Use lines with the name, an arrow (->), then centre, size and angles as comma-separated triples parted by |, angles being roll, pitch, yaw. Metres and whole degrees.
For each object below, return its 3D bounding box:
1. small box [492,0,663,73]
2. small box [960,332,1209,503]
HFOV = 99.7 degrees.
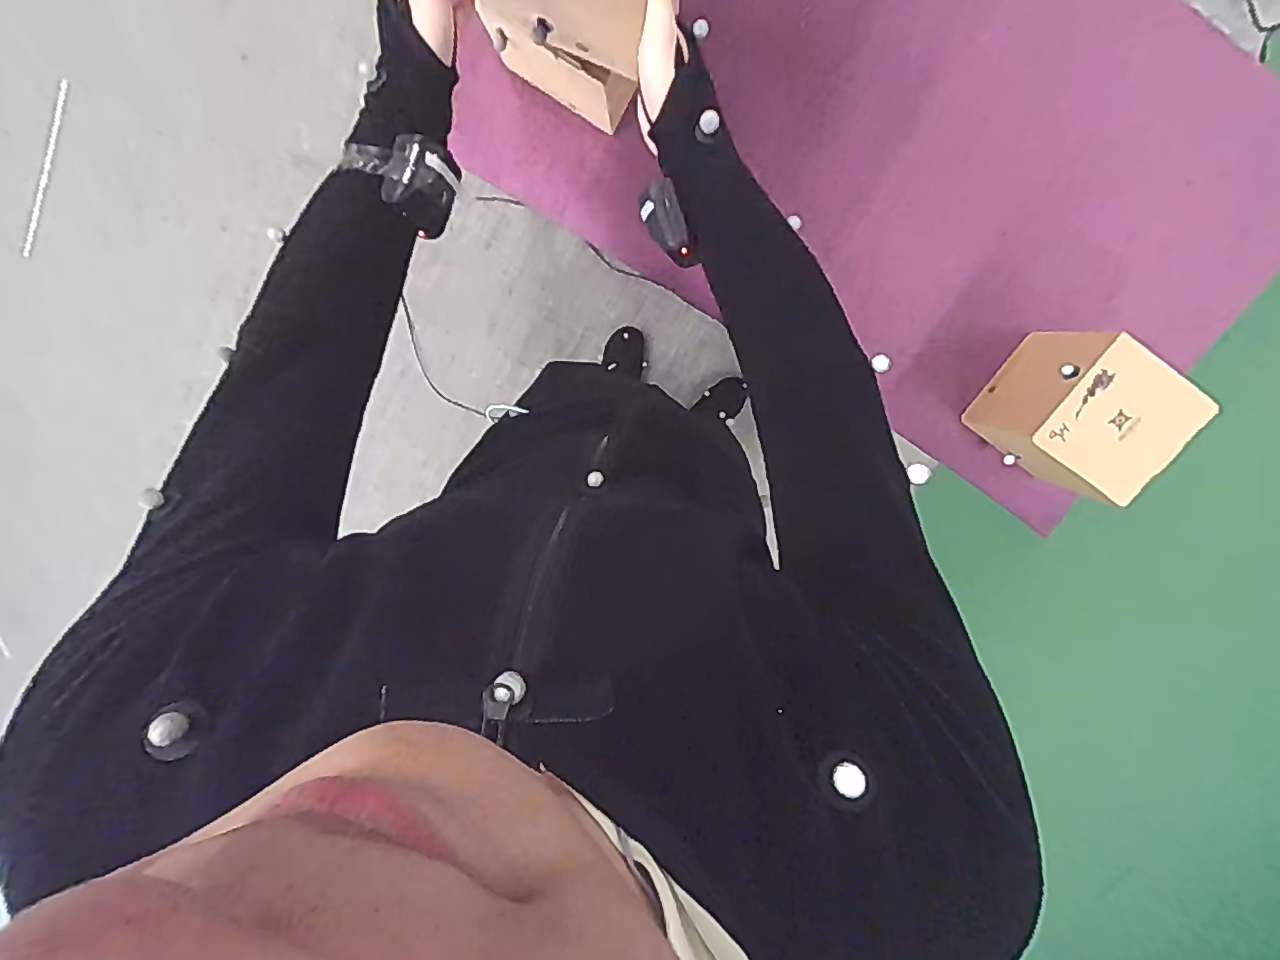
small box -> -0.045, -0.498, 0.454 | 0.168, 0.176, 0.179 | 17, 106, -8
small box -> 0.618, -0.099, 0.776 | 0.179, 0.176, 0.168 | 33, 103, -9
